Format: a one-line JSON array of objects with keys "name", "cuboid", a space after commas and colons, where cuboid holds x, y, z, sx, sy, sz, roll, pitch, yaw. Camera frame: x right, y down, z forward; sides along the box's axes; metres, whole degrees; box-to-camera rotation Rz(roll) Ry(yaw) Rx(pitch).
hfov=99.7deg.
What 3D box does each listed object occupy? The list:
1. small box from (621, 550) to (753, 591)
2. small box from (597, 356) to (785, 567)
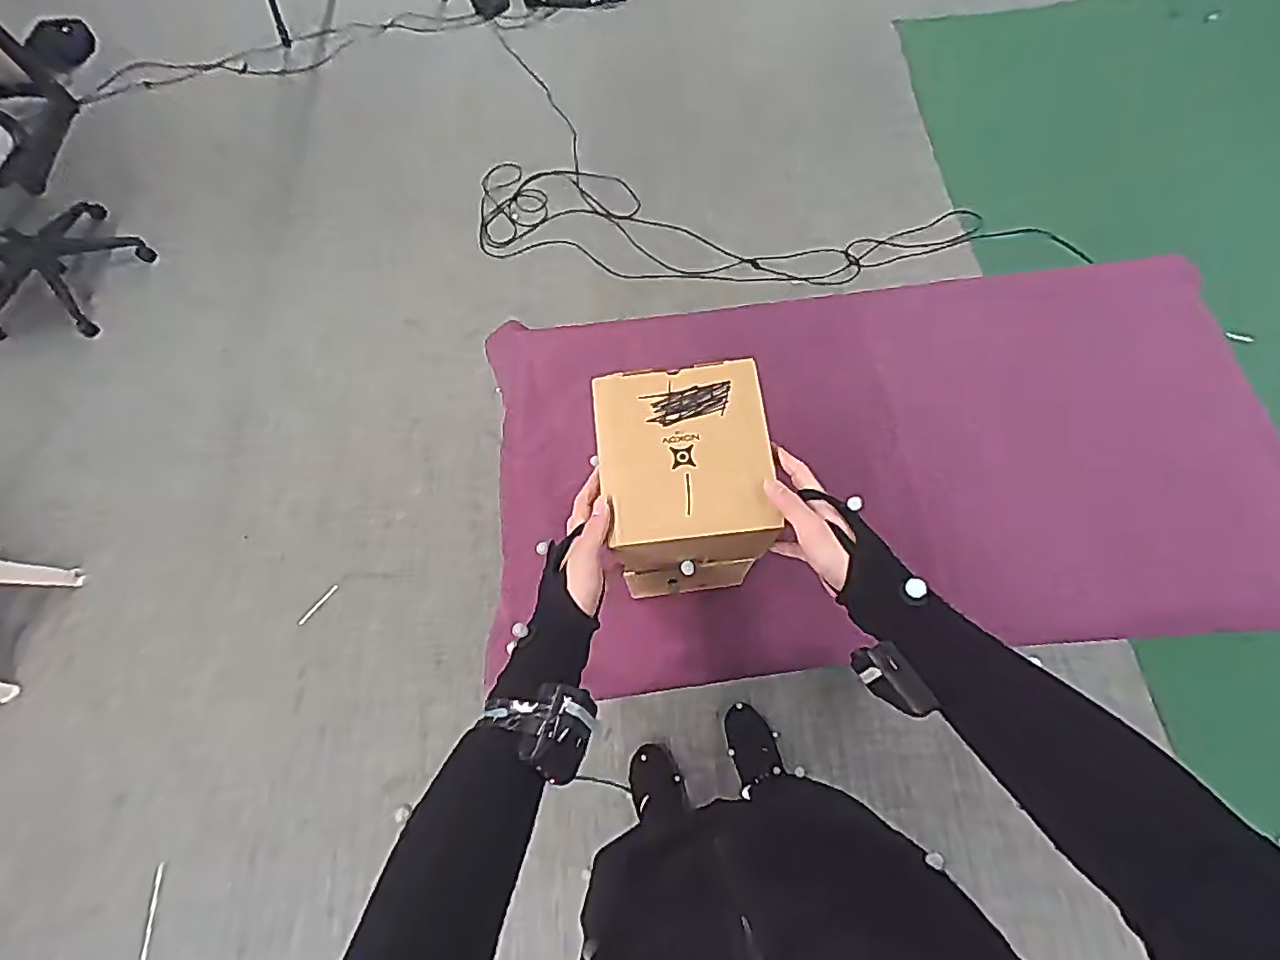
[{"name": "small box", "cuboid": [0.058, 0.056, 0.770, 0.168, 0.176, 0.179, -8, 68, 1]}, {"name": "small box", "cuboid": [0.049, -0.010, 0.588, 0.168, 0.176, 0.179, -7, 73, 4]}]
